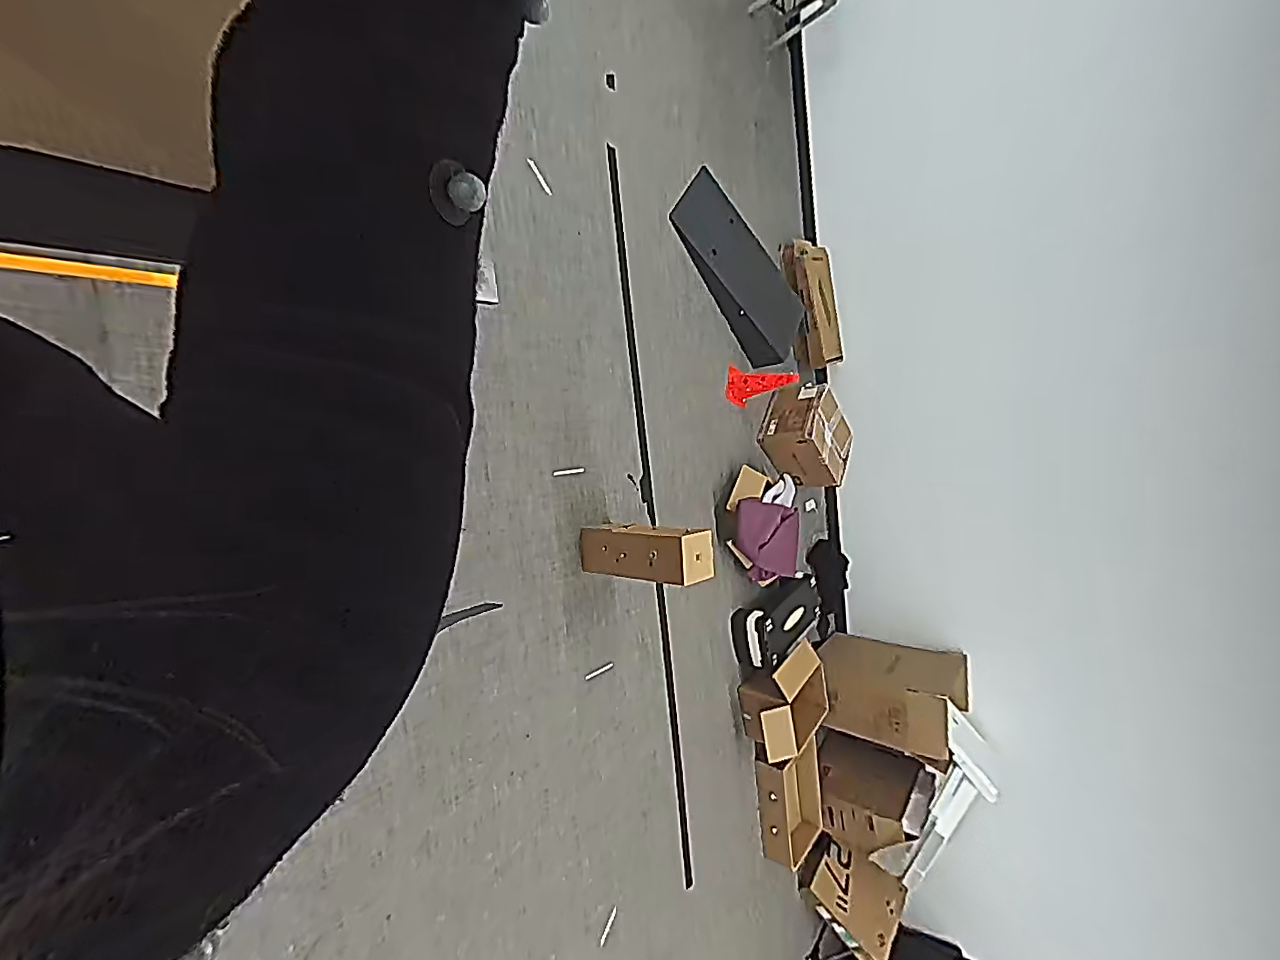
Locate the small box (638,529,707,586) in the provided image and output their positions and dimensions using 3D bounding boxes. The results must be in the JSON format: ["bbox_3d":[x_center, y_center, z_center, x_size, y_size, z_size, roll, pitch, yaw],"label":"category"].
[{"bbox_3d":[0.113,0.262,1.869,0.179,0.176,0.168,-5,92,-48],"label":"small box"}]

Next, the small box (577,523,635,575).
[{"bbox_3d":[-0.130,0.260,2.089,0.168,0.176,0.179,-5,93,-49],"label":"small box"}]

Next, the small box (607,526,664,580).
[{"bbox_3d":[-0.002,0.263,1.986,0.179,0.176,0.168,-5,92,-49],"label":"small box"}]
